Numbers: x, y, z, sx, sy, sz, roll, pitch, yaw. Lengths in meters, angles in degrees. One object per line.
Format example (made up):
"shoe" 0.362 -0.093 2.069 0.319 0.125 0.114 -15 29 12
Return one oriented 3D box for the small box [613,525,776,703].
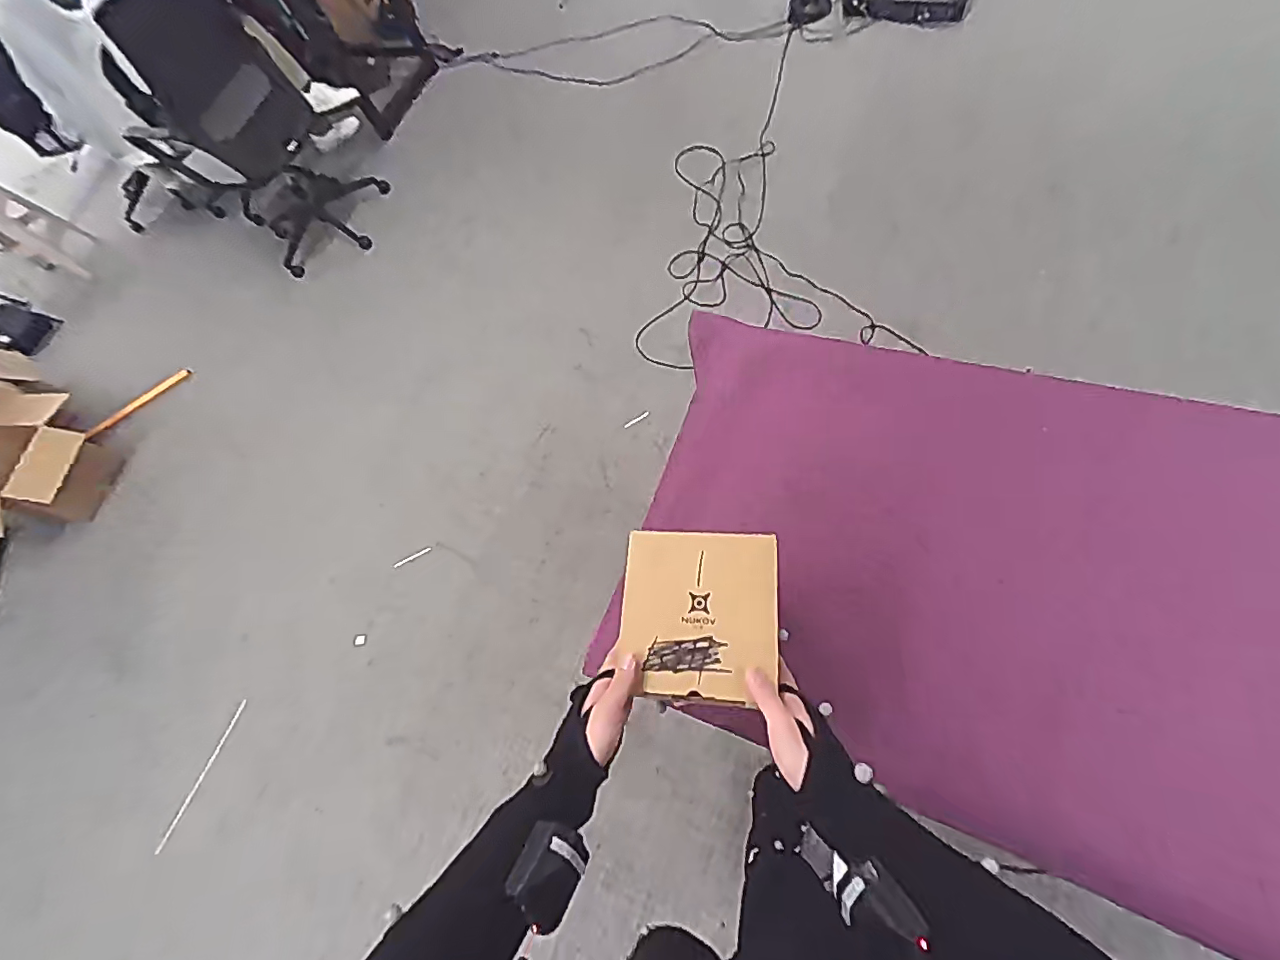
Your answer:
"small box" 0.074 0.165 0.646 0.168 0.176 0.179 2 66 11
